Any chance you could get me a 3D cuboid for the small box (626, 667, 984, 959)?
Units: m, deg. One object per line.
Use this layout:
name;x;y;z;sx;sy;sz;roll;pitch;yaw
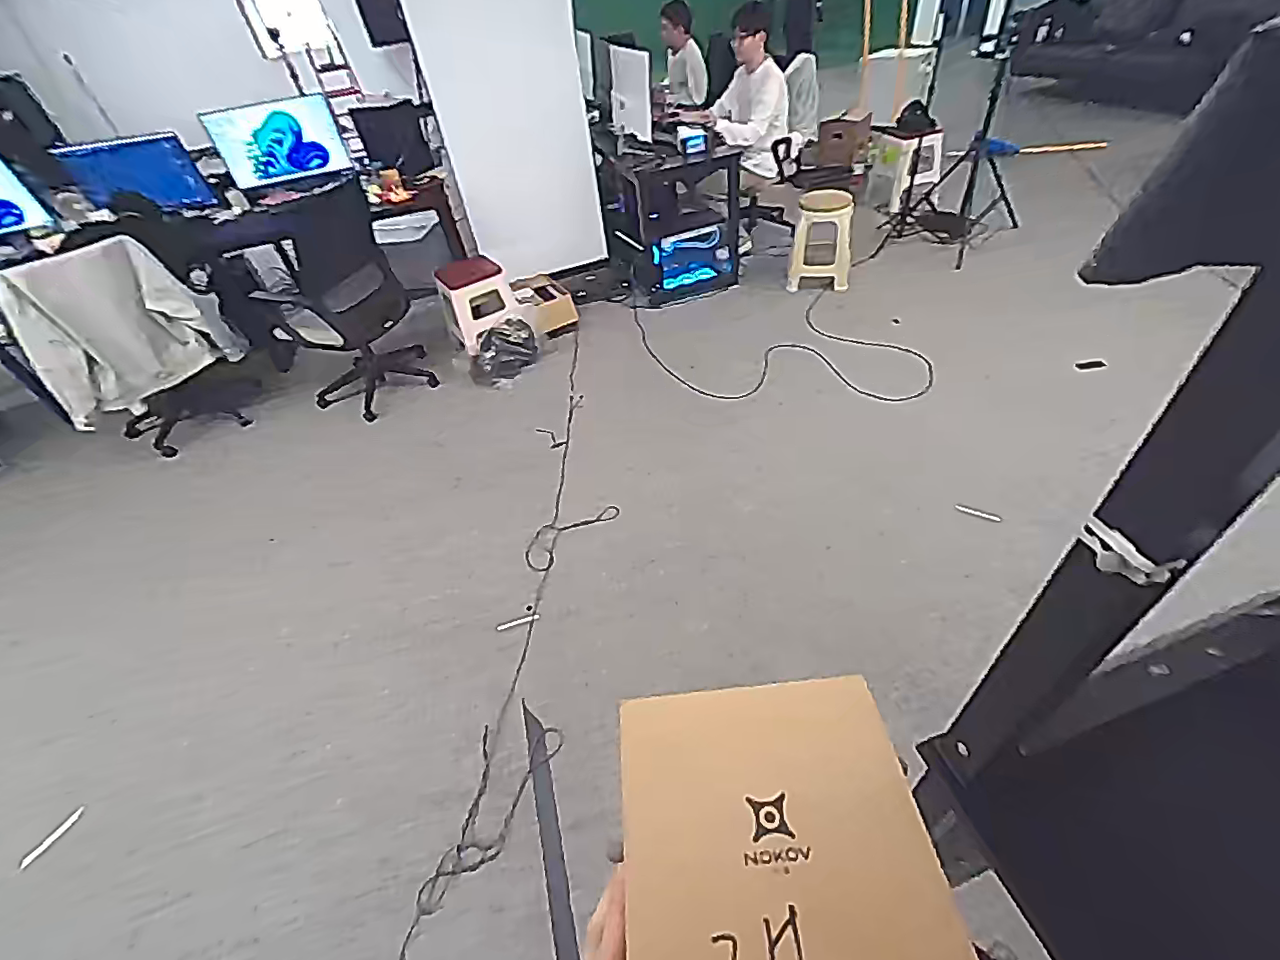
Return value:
small box;0.081;0.248;0.348;0.168;0.176;0.179;-7;40;2
